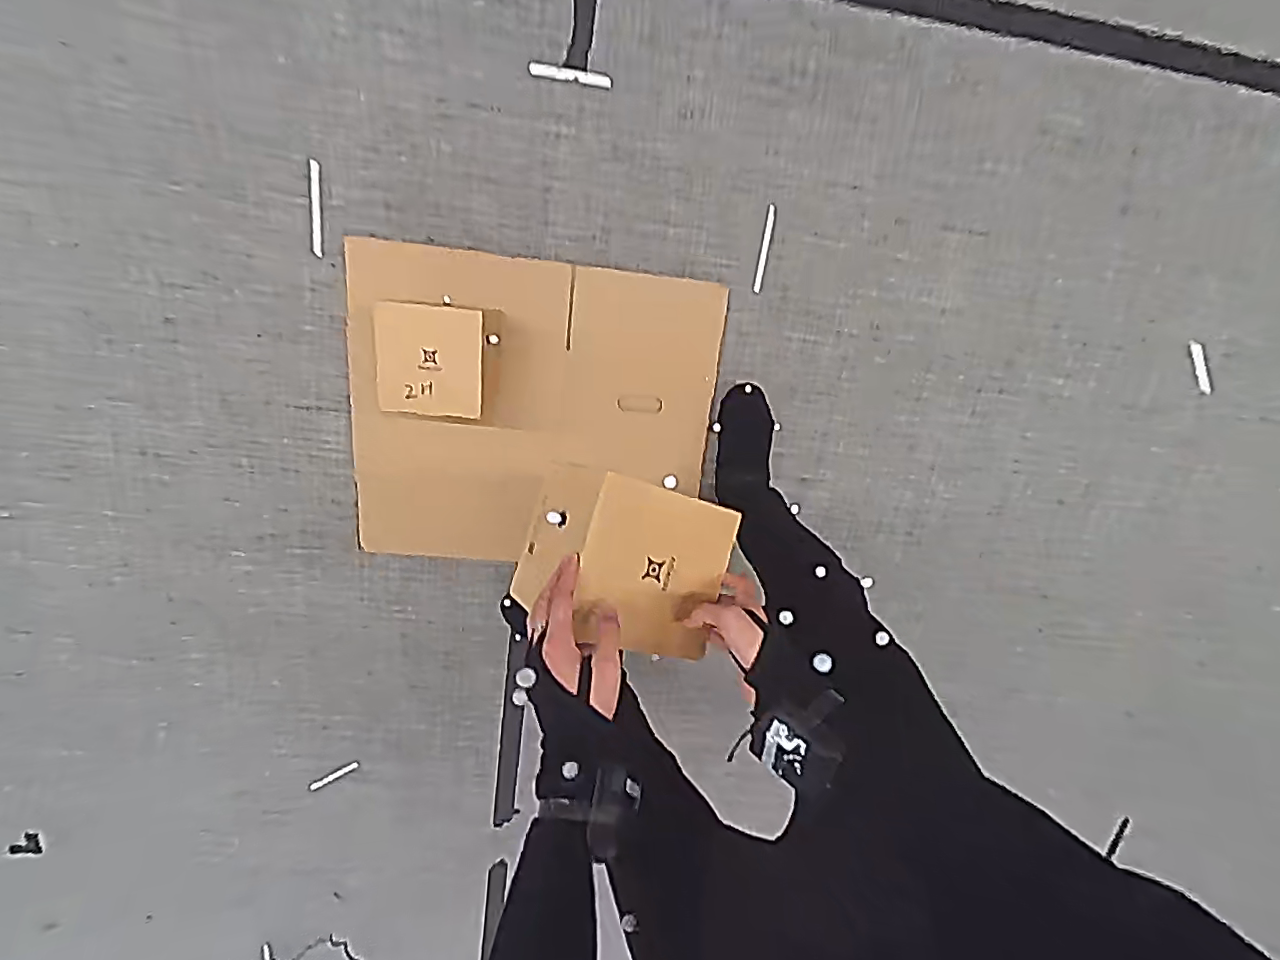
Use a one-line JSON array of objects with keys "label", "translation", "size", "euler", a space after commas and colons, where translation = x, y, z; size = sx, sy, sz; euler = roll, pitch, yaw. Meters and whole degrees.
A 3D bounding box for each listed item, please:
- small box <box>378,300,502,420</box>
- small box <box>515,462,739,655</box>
[{"label": "small box", "translation": [-0.339, -0.213, 0.940], "size": [0.168, 0.176, 0.179], "euler": [5, 108, -5]}, {"label": "small box", "translation": [-0.023, 0.081, 0.615], "size": [0.179, 0.176, 0.168], "euler": [19, 85, -29]}]
